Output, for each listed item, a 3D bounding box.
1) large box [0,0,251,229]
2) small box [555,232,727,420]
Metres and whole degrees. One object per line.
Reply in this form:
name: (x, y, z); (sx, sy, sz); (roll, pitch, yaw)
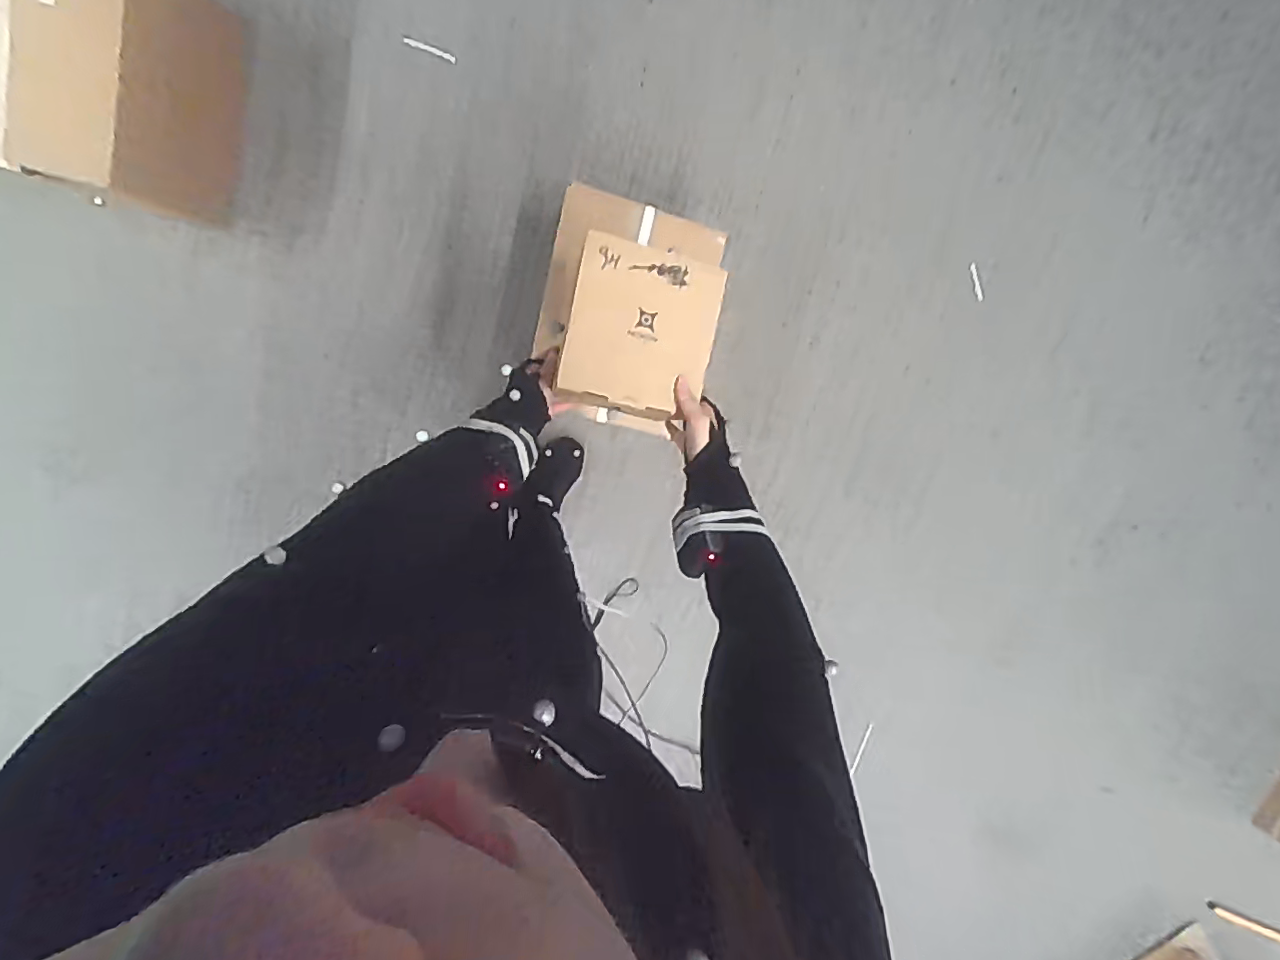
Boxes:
large box: (-0.971, -0.731, 0.975); (0.320, 0.320, 0.408); (14, 100, -10)
small box: (-0.011, -0.179, 0.688); (0.168, 0.176, 0.179); (12, 93, -12)
